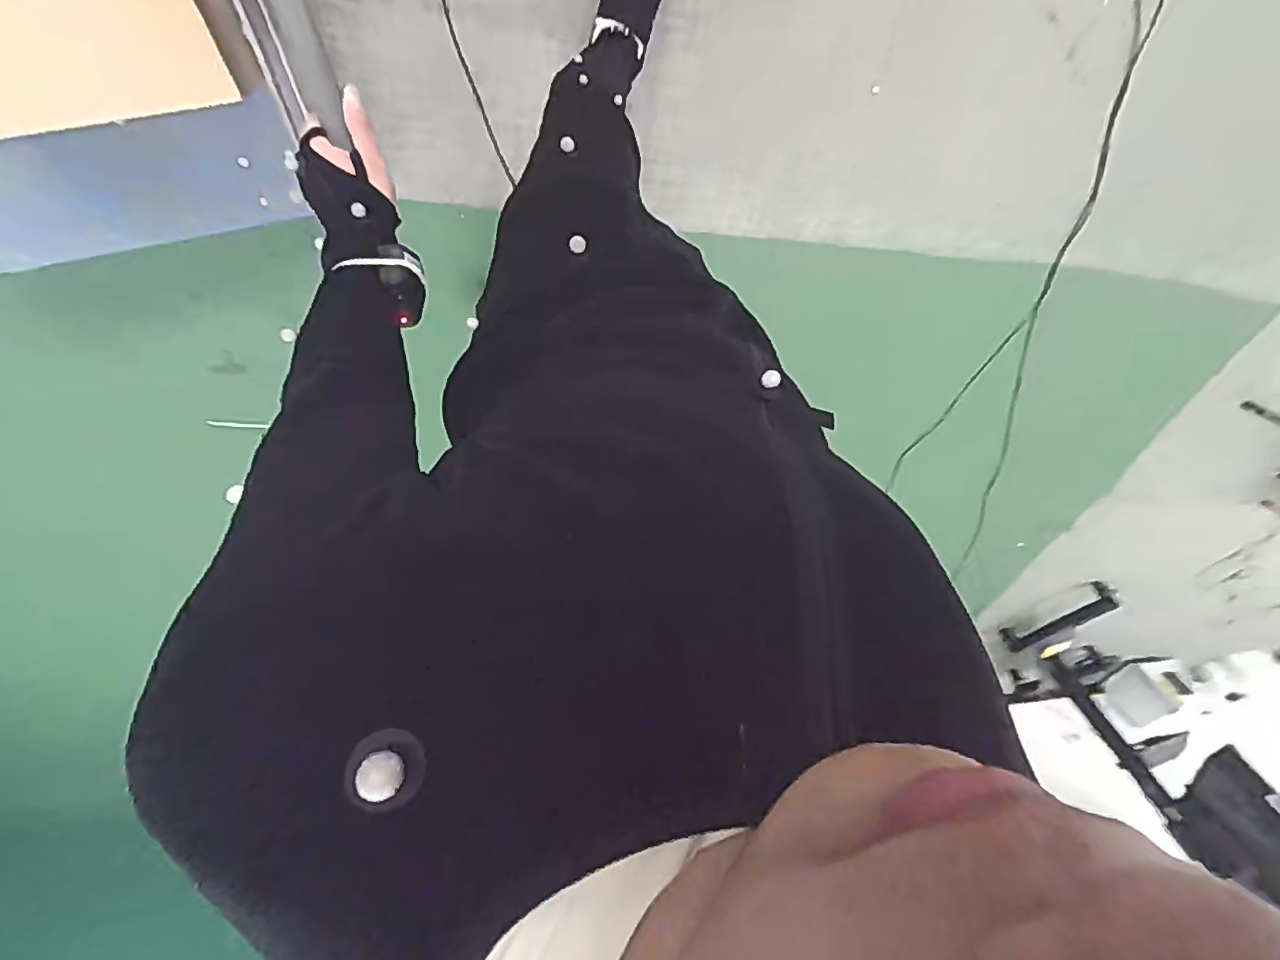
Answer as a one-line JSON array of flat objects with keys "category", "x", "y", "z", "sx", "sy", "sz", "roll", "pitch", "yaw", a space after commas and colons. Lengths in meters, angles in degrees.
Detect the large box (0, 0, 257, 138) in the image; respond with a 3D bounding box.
[{"category": "large box", "x": -0.802, "y": -0.666, "z": 0.699, "sx": 0.408, "sy": 0.320, "sz": 0.320, "roll": -20, "pitch": 134, "yaw": -14}]
